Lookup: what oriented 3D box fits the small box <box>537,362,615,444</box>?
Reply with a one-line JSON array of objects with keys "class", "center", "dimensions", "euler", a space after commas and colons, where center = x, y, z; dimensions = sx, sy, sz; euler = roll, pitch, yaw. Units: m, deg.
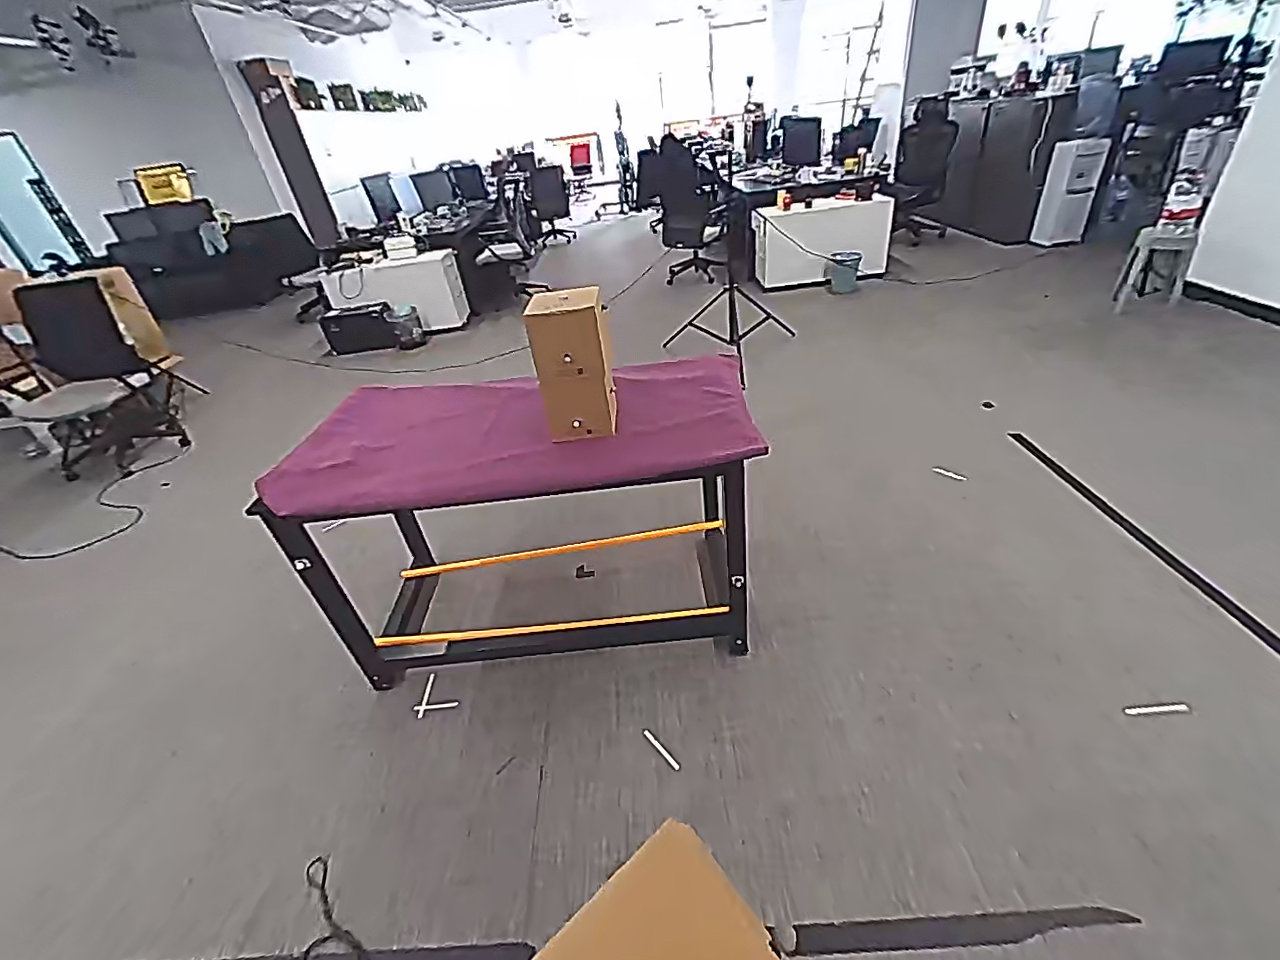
[{"class": "small box", "center": [-0.159, -0.211, 1.414], "dimensions": [0.168, 0.176, 0.179], "euler": [-6, 34, 4]}]

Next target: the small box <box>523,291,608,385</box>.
[{"class": "small box", "center": [-0.173, -0.348, 1.322], "dimensions": [0.168, 0.176, 0.179], "euler": [-6, 34, 4]}]
